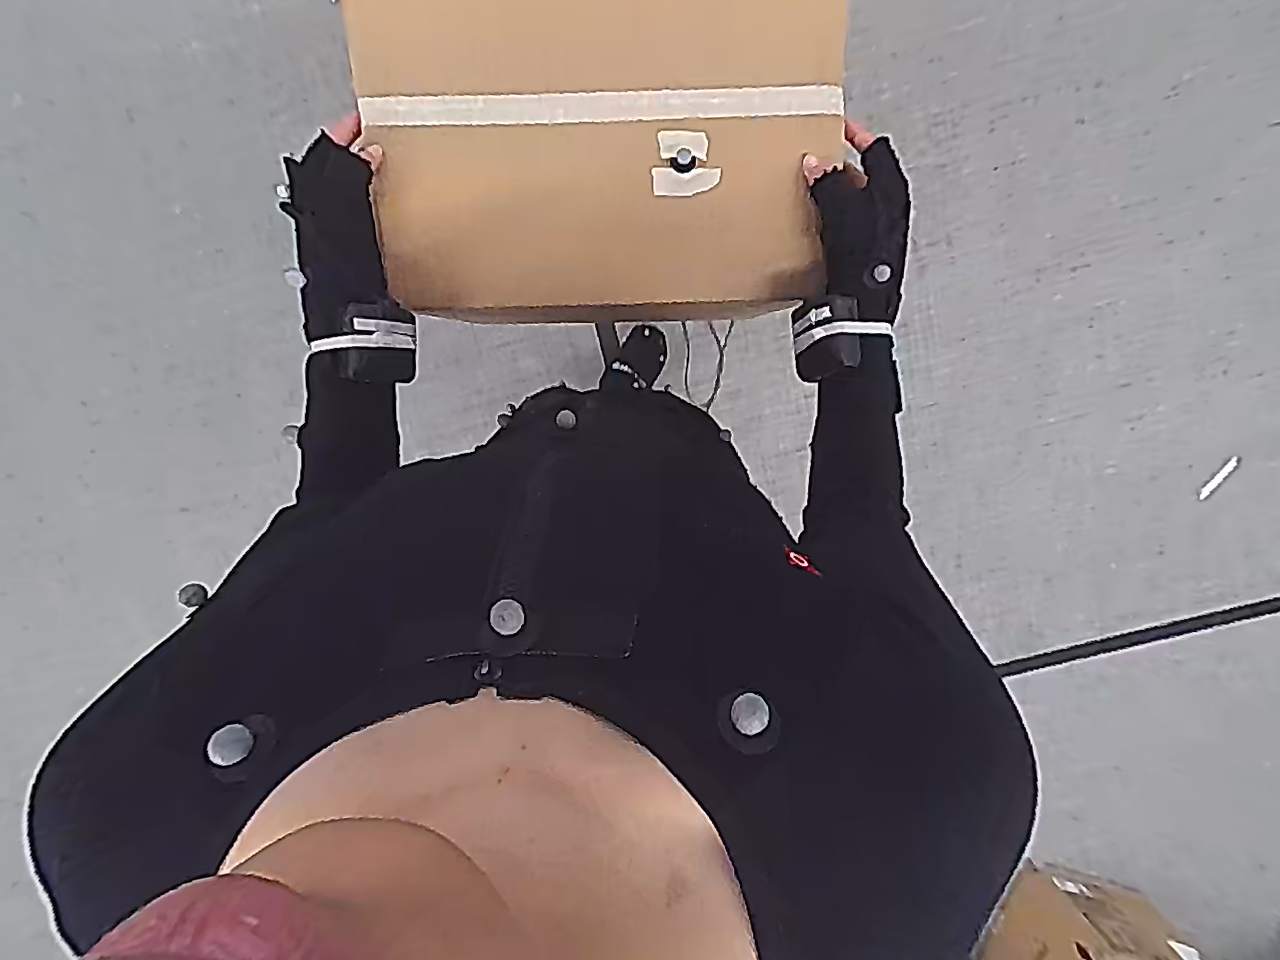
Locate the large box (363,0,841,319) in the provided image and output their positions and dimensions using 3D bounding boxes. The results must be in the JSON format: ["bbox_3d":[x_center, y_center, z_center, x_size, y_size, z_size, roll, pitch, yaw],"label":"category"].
[{"bbox_3d":[-0.033,-0.358,0.609,0.408,0.320,0.320,-2,104,-1],"label":"large box"}]
